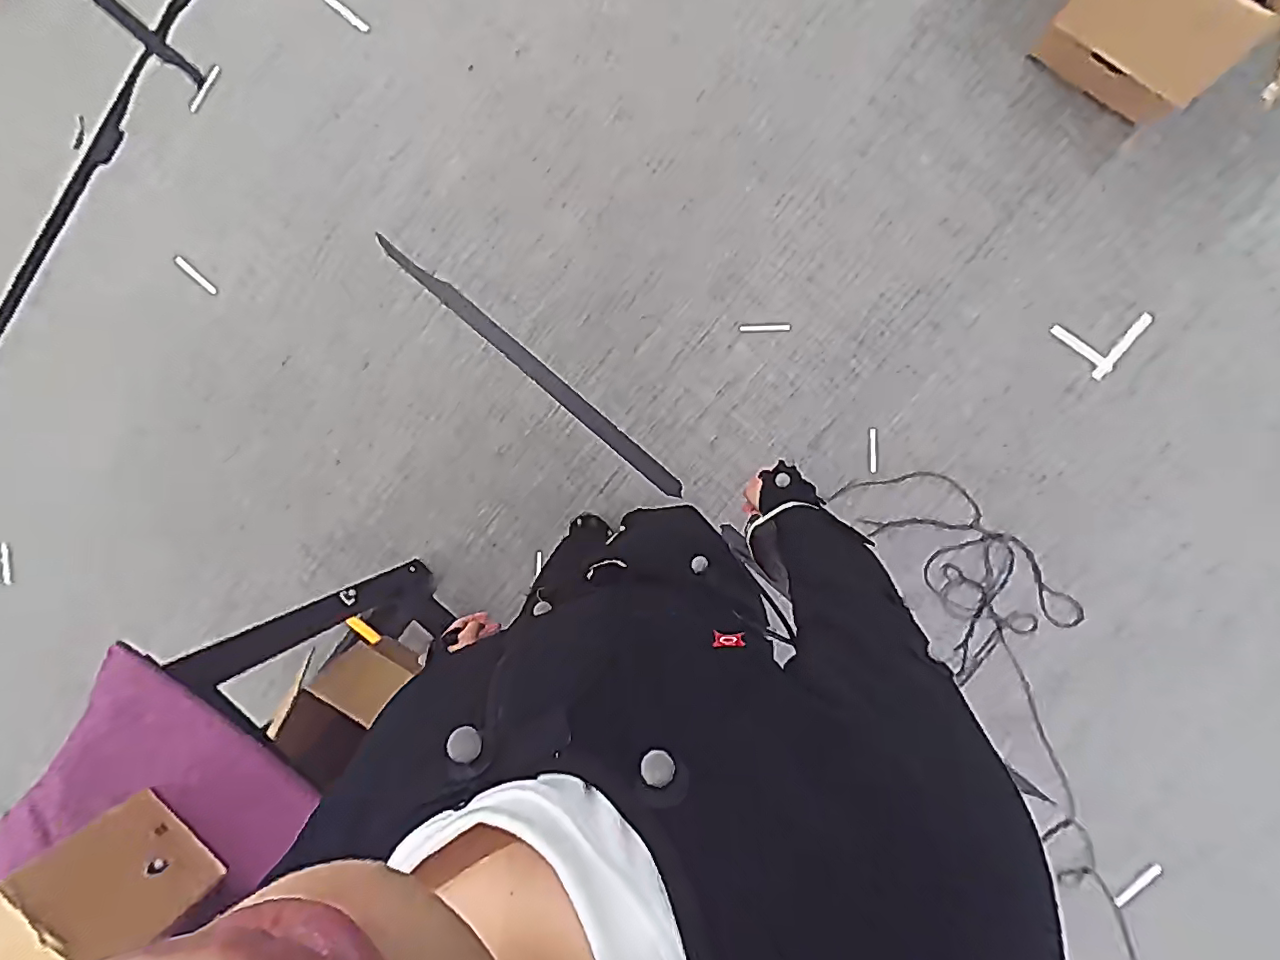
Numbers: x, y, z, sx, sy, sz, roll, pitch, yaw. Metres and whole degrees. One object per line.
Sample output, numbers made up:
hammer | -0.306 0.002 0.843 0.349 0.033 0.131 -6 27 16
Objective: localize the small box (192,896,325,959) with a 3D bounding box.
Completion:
small box | -0.534 0.692 0.679 0.168 0.176 0.179 43 99 3

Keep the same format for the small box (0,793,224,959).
small box | -0.695 0.557 0.691 0.168 0.176 0.179 44 99 3
